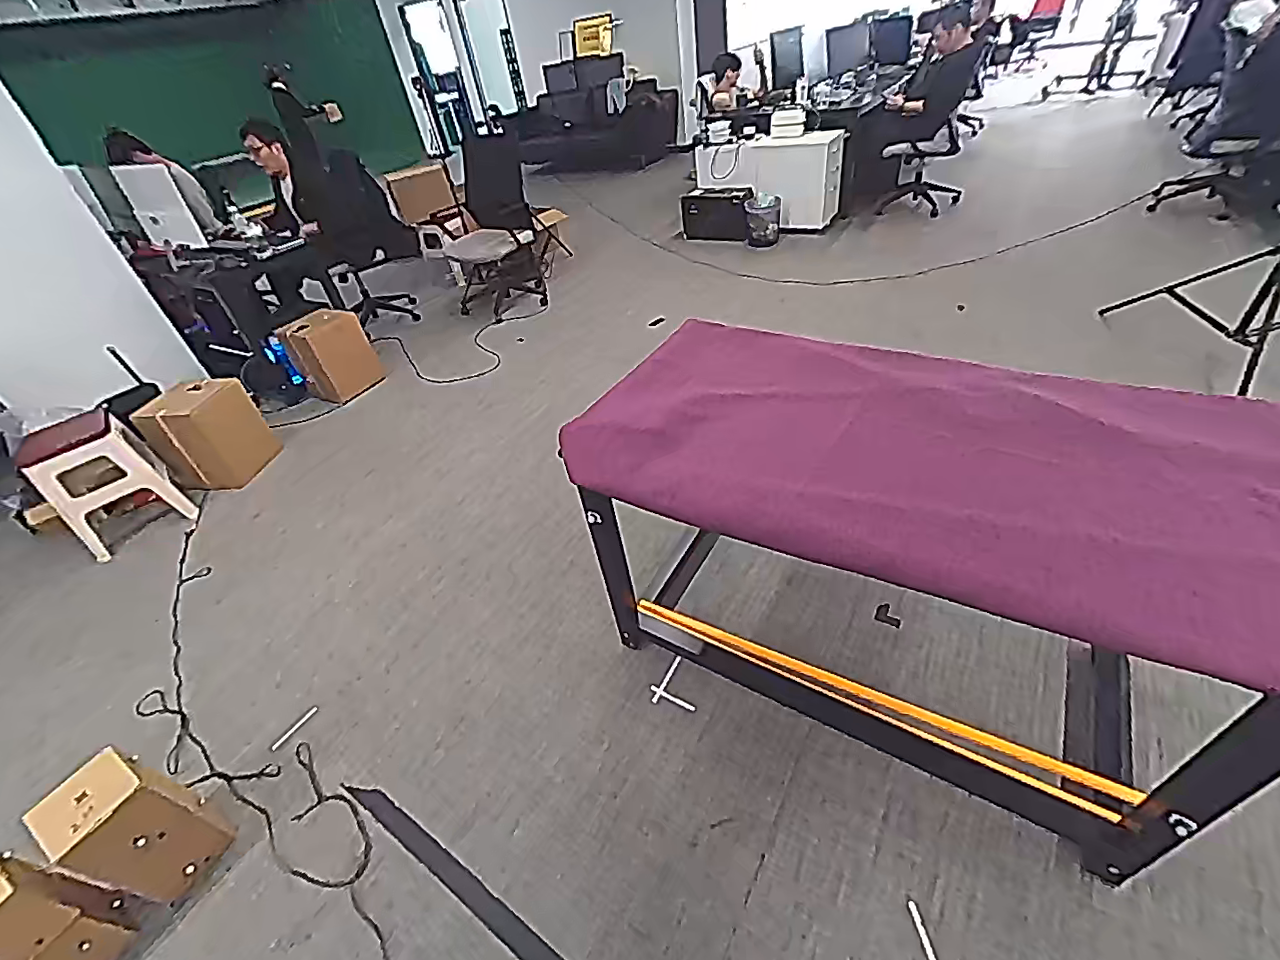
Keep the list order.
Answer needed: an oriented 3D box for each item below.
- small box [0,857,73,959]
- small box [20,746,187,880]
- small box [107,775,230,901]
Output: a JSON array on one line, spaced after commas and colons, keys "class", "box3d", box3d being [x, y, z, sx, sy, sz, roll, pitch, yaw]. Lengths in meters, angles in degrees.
[{"class": "small box", "box3d": [-1.276, 0.860, 1.044, 0.179, 0.176, 0.168, 12, 45, 25]}, {"class": "small box", "box3d": [-1.154, 0.725, 1.174, 0.179, 0.176, 0.168, 16, 47, 27]}, {"class": "small box", "box3d": [-1.134, 0.849, 1.280, 0.179, 0.176, 0.168, 18, 47, 28]}]
